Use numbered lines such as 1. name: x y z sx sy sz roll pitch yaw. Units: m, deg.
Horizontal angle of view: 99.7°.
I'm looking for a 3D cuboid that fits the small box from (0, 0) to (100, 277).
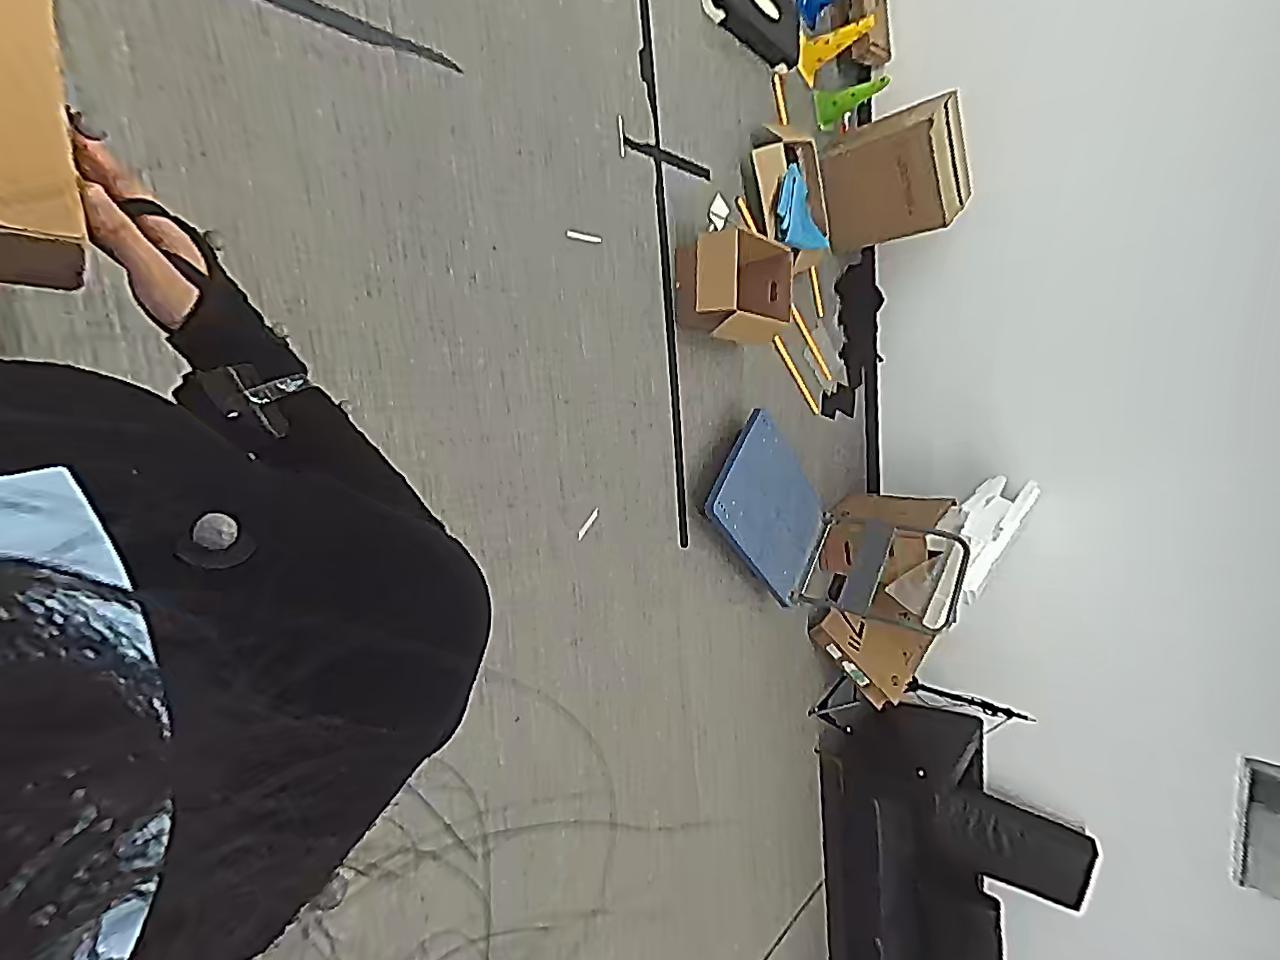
1. small box: -0.423 -0.225 0.292 0.168 0.176 0.179 -9 101 -47
